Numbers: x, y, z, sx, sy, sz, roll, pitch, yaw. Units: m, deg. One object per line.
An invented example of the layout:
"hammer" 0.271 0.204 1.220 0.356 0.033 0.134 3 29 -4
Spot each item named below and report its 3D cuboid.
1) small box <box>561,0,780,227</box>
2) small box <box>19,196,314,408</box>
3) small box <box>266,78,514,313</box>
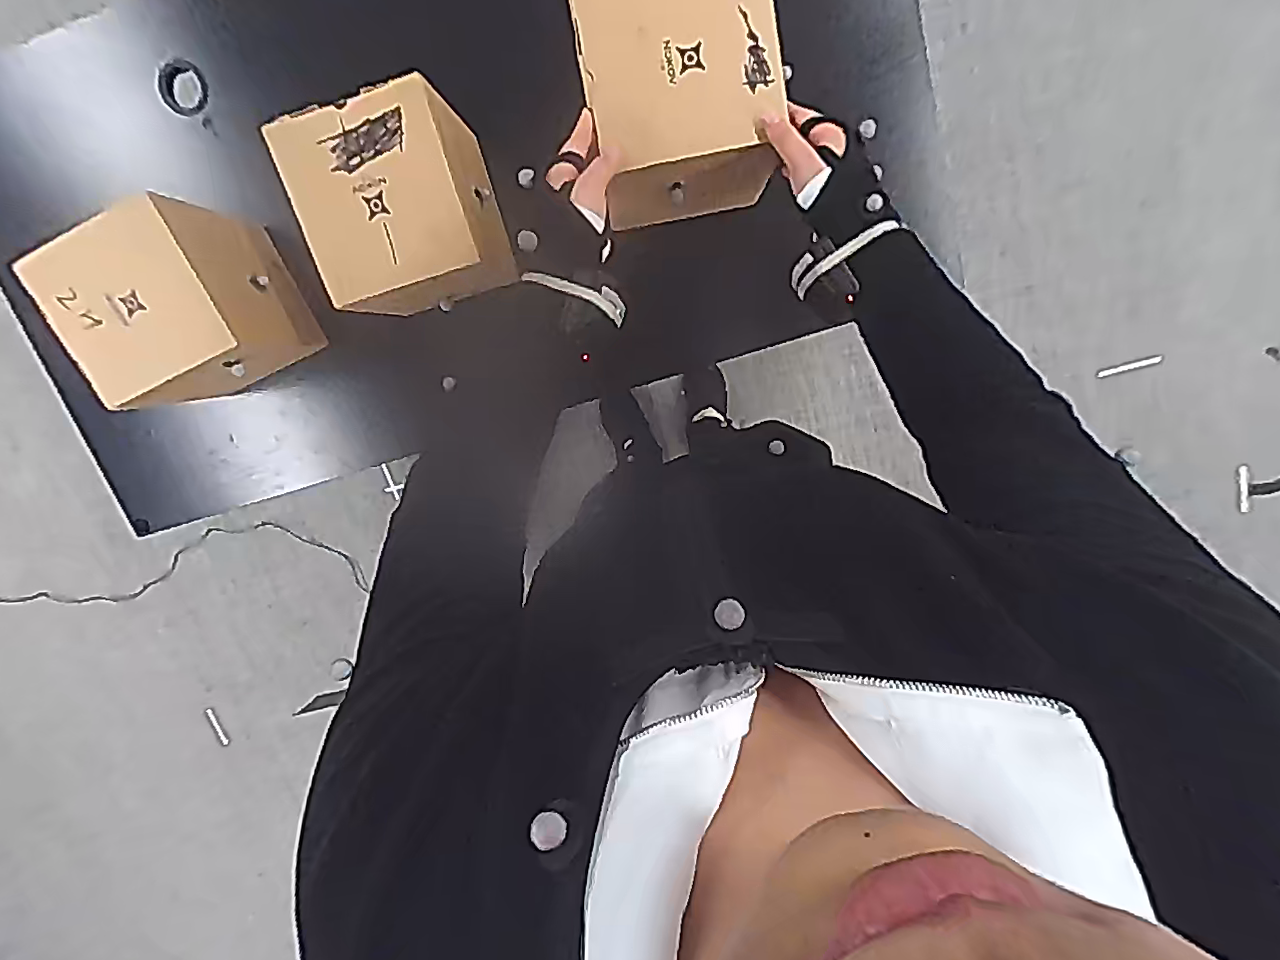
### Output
"small box" 0.031 -0.380 0.555 0.179 0.176 0.168 -10 99 3
"small box" -0.533 -0.203 0.646 0.179 0.176 0.168 -23 102 8
"small box" -0.262 -0.300 0.614 0.168 0.176 0.179 -15 104 6
